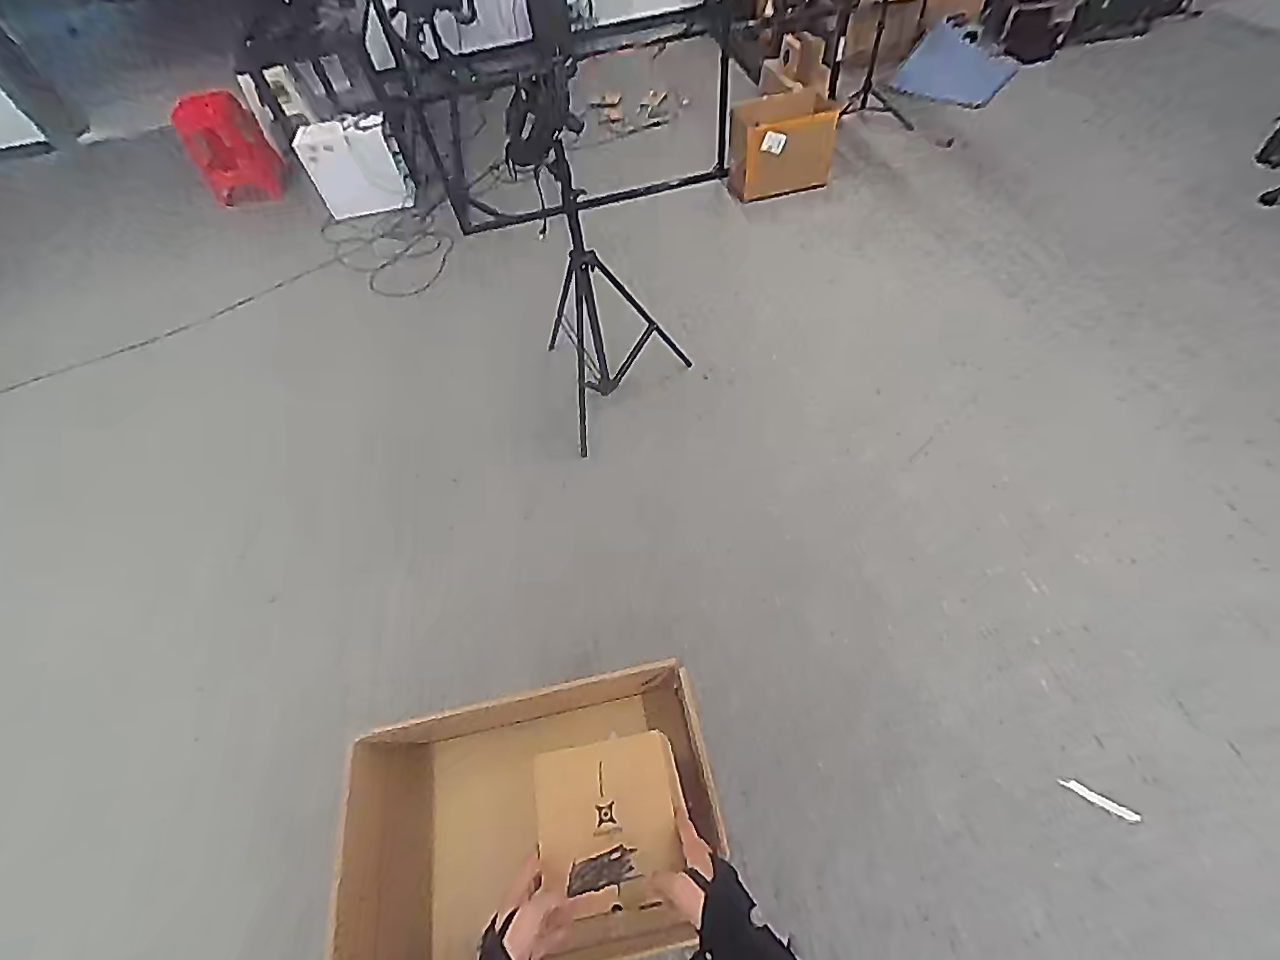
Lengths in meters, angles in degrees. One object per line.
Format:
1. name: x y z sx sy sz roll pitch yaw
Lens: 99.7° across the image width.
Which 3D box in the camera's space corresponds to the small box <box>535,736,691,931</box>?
1. small box: -0.030 0.443 0.704 0.168 0.176 0.179 -12 62 0
